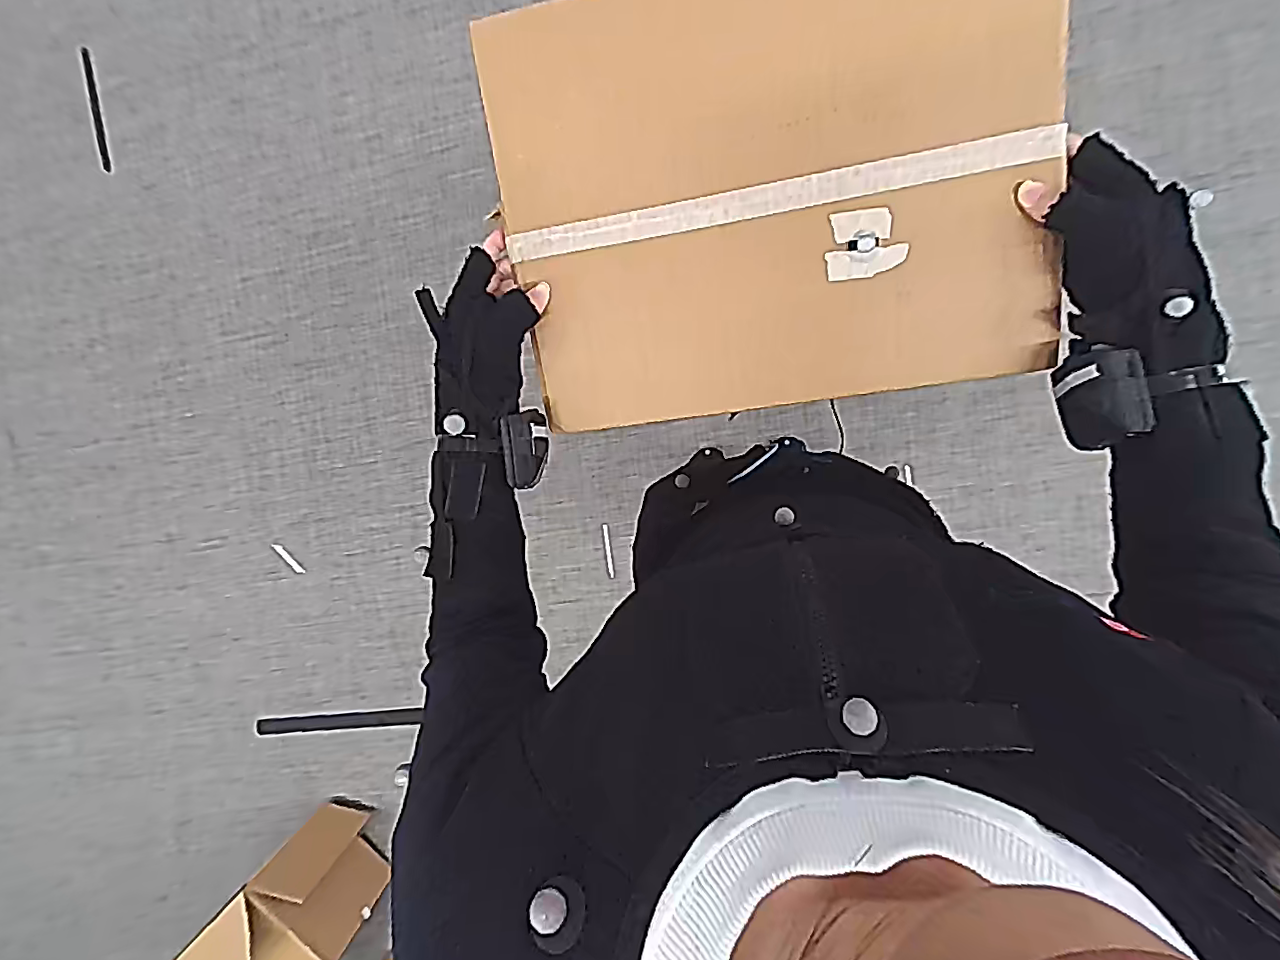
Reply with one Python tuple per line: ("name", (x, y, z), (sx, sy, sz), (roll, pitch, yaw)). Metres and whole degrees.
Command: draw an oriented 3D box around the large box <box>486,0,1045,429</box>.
("large box", (0.113, -0.255, 0.565), (0.408, 0.320, 0.320), (-7, 105, 9))
